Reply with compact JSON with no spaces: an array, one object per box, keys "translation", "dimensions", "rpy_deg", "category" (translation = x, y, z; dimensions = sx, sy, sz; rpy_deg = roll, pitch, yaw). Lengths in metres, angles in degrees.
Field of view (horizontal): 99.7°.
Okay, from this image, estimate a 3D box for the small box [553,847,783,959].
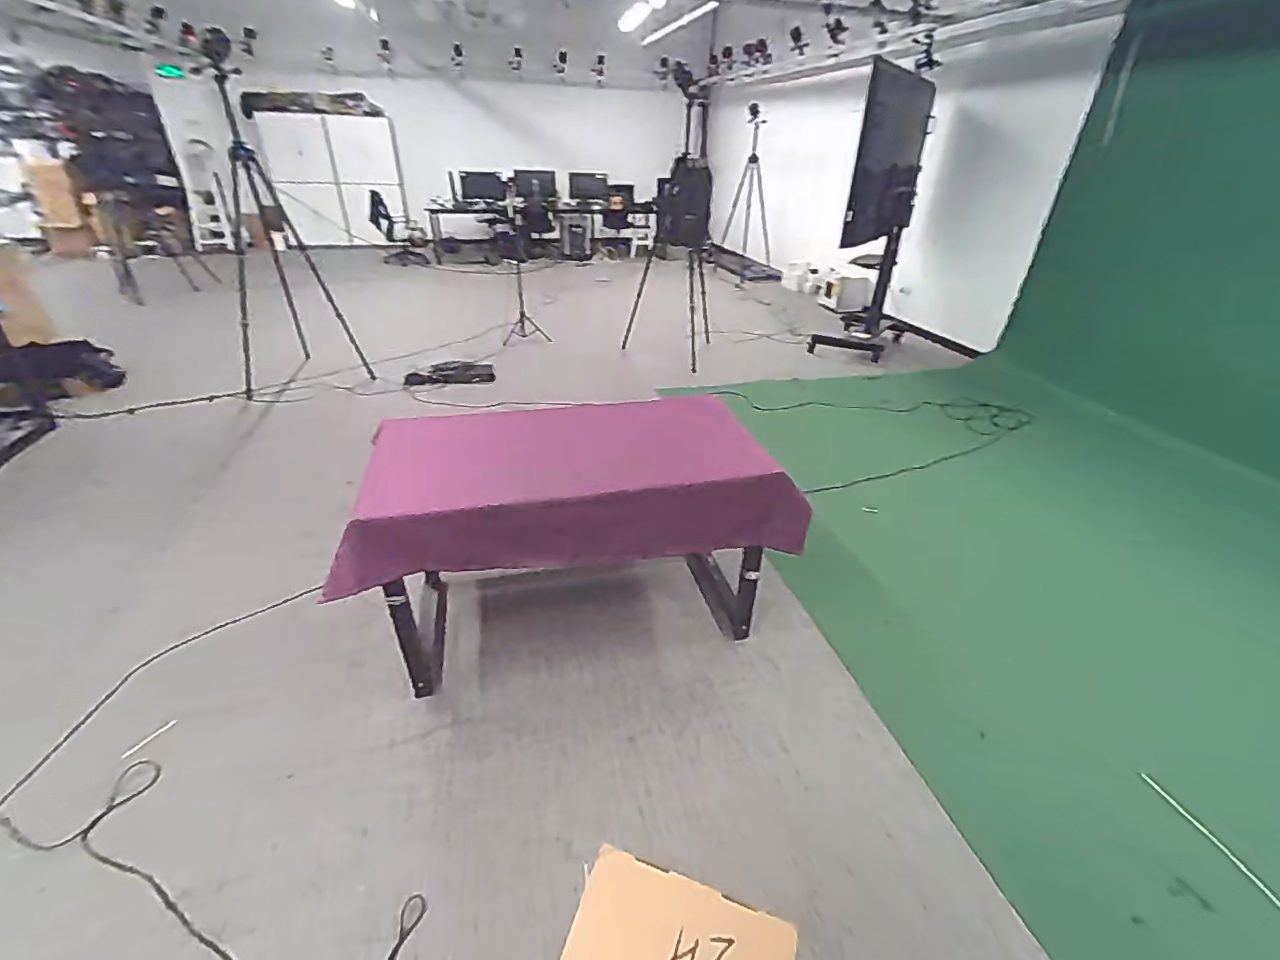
[{"translation":[0.010,0.448,0.444],"dimensions":[0.168,0.176,0.179],"rpy_deg":[14,47,16],"category":"small box"}]
